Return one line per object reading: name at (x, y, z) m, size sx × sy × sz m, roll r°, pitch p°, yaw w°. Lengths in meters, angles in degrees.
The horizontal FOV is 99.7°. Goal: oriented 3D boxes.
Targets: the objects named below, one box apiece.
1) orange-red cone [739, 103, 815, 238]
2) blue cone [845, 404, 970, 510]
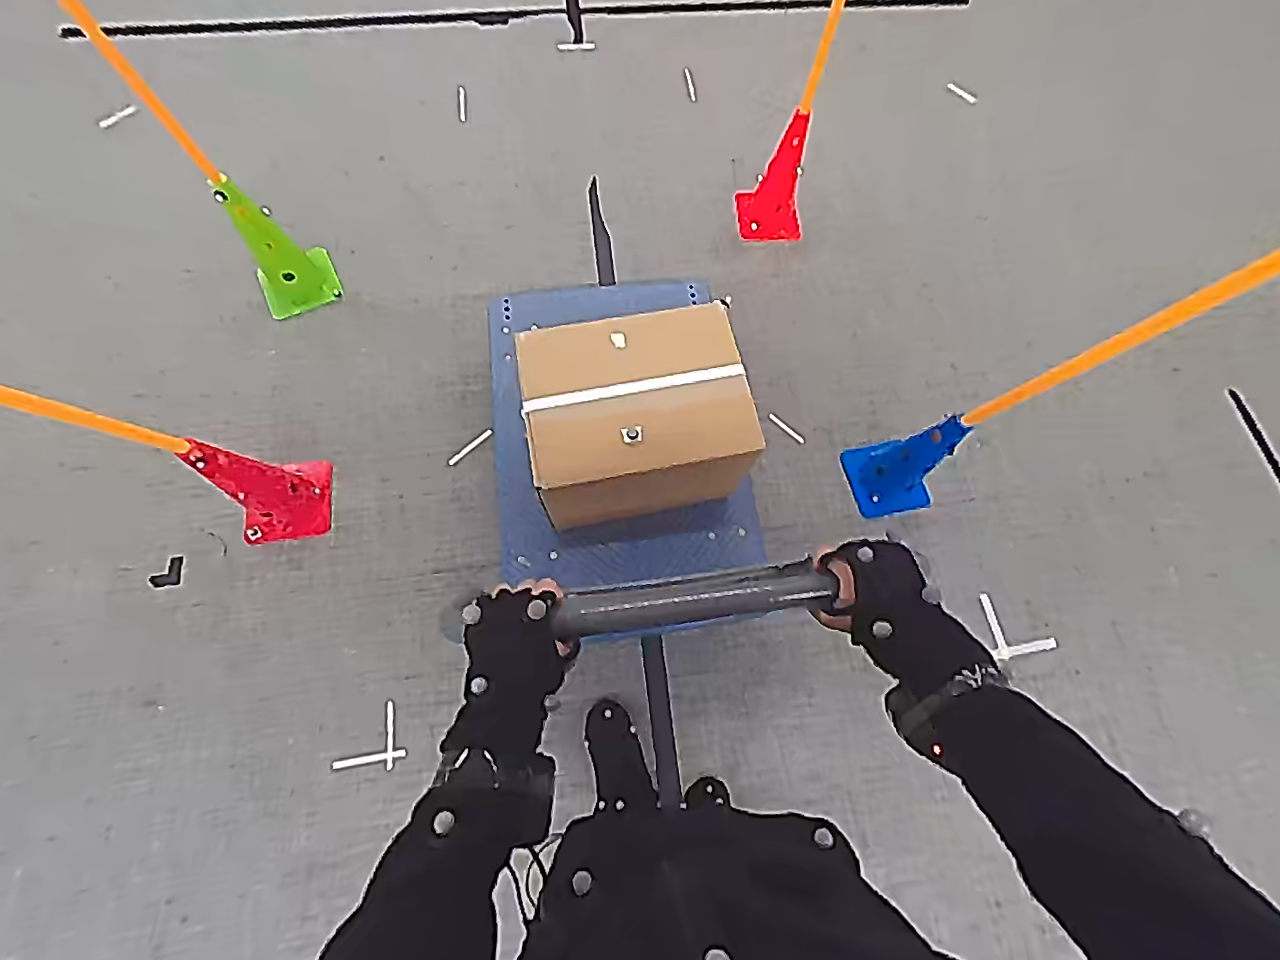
orange-red cone at (0.429, -0.910, 1.567) m, size 0.199 × 0.360 × 0.198 m, roll 0°, pitch 72°, yaw -4°
blue cone at (0.673, -0.071, 1.308) m, size 0.193 × 0.380 × 0.192 m, roll -10°, pitch 71°, yaw -7°
